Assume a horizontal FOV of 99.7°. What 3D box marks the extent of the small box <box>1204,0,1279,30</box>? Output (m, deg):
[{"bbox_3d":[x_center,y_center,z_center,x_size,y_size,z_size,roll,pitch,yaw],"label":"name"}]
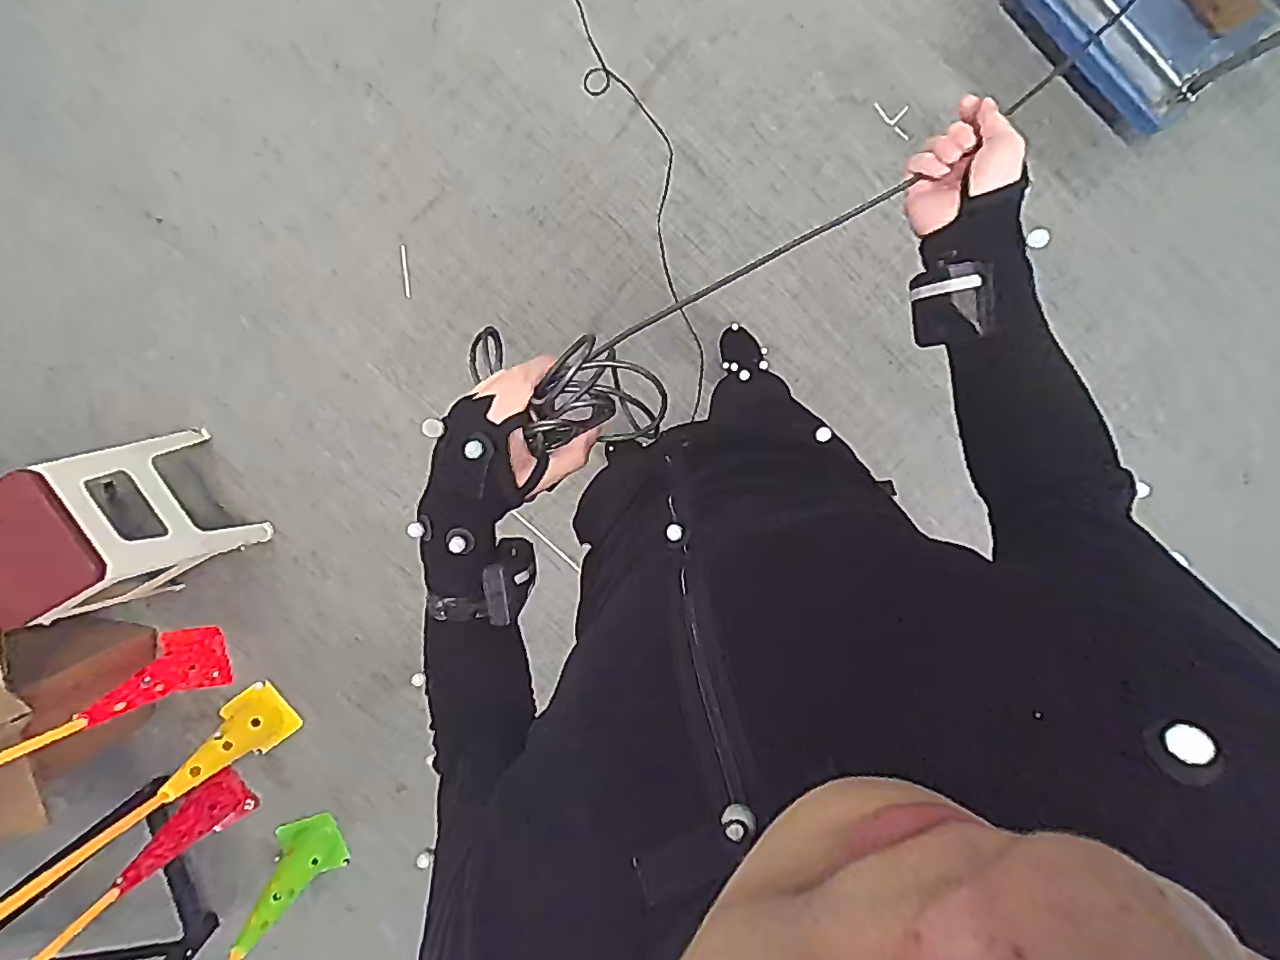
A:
[{"bbox_3d":[1.375,-1.142,1.158,0.168,0.176,0.179,44,98,-5],"label":"small box"}]
